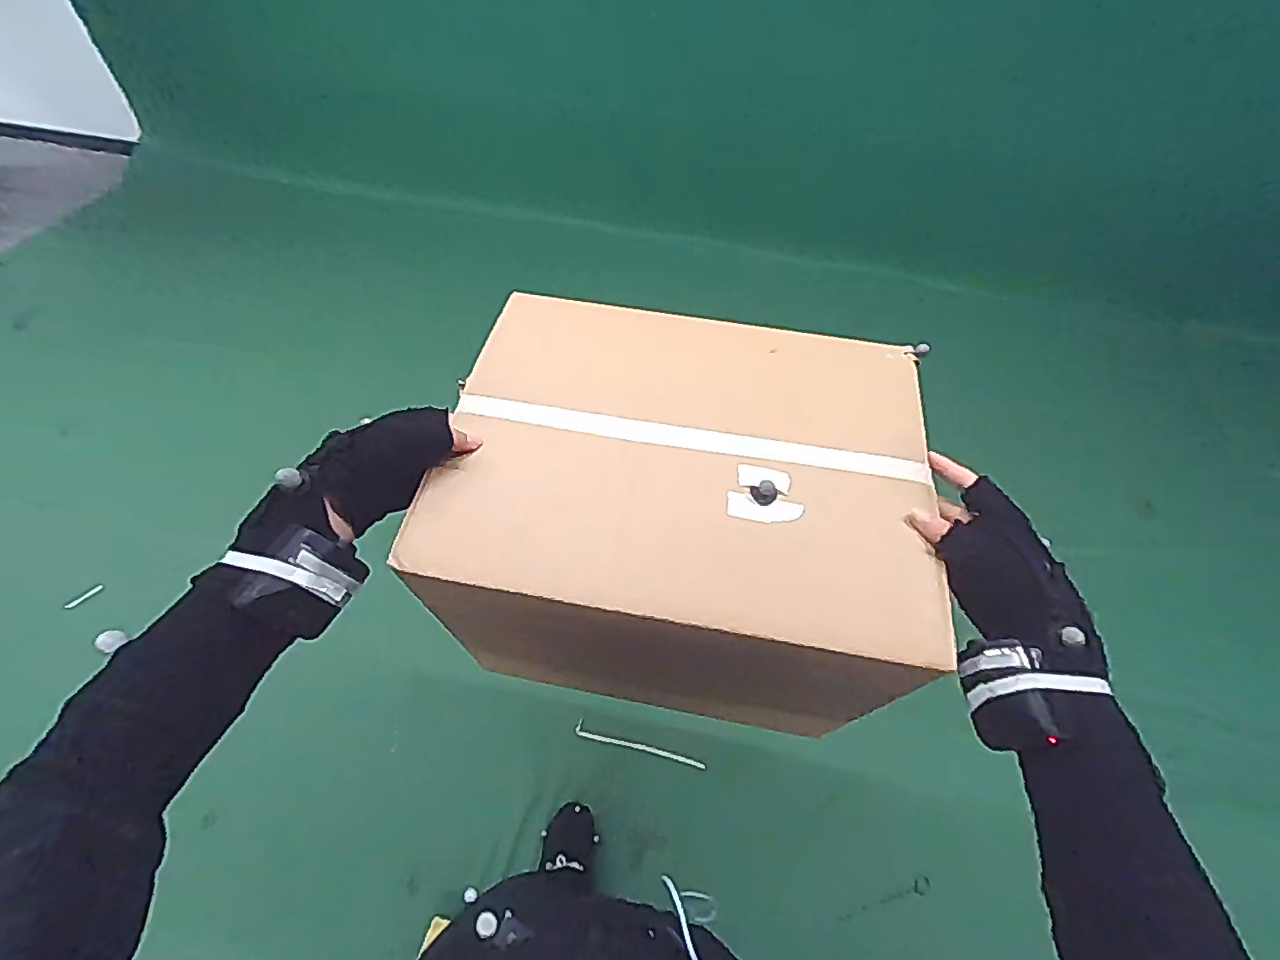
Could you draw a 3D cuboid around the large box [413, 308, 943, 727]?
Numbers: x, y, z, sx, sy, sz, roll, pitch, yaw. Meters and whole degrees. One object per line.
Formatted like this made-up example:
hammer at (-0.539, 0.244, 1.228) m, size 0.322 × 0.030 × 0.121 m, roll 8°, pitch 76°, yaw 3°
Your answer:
large box at (0.038, 0.053, 0.600) m, size 0.408 × 0.320 × 0.320 m, roll 10°, pitch 57°, yaw 3°
